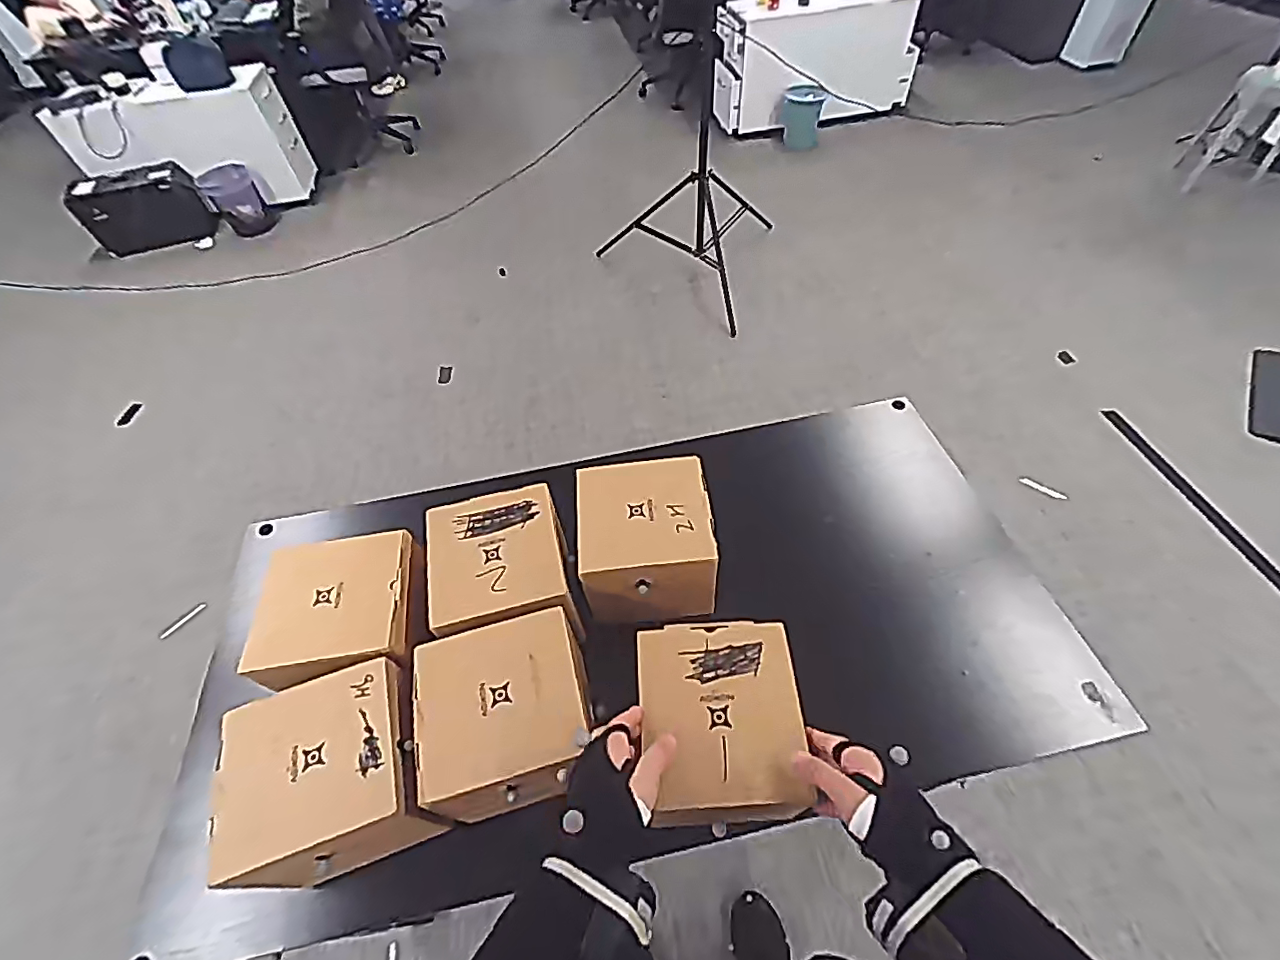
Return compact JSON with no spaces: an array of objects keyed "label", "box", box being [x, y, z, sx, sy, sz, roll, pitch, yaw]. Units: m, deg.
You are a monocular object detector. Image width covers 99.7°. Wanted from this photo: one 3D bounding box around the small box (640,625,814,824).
[{"label":"small box","box":[0.086,0.287,0.630,0.168,0.176,0.179,-4,53,1]}]
